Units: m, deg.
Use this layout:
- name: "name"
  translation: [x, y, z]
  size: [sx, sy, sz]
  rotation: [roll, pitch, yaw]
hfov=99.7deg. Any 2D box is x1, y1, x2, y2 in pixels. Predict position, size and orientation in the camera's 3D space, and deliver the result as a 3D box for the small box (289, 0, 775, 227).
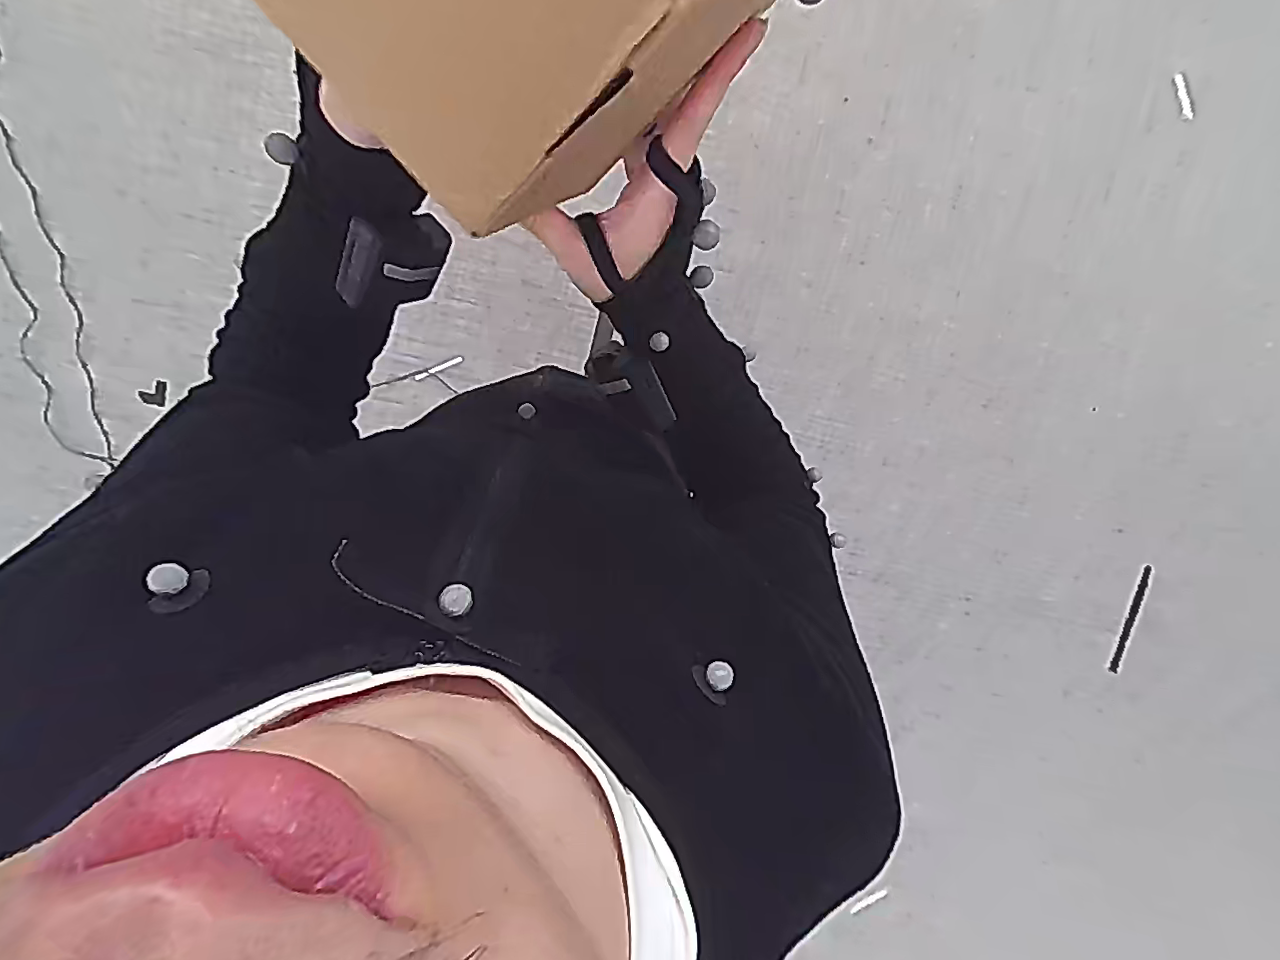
- name: "small box"
  translation: [-0.031, -0.218, 0.173]
  size: [0.168, 0.176, 0.179]
  rotation: [-35, 111, 23]
